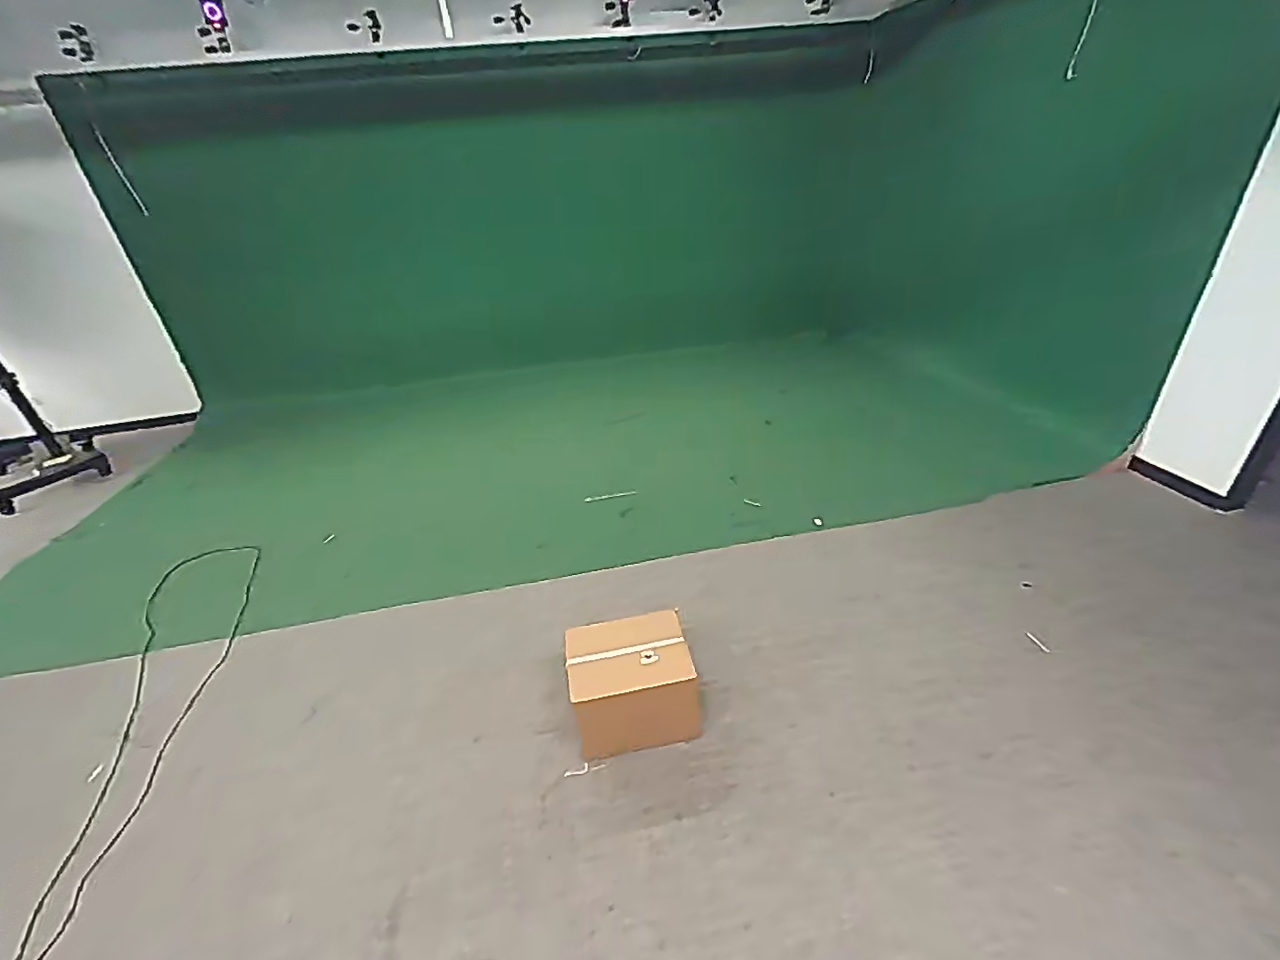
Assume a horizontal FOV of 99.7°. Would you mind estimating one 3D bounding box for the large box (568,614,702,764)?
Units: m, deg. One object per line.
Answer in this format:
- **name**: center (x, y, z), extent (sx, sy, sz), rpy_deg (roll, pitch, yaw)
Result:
- **large box**: center (-0.020, 0.717, 1.873), extent (0.408, 0.320, 0.320), rpy_deg (-9, 30, -7)
